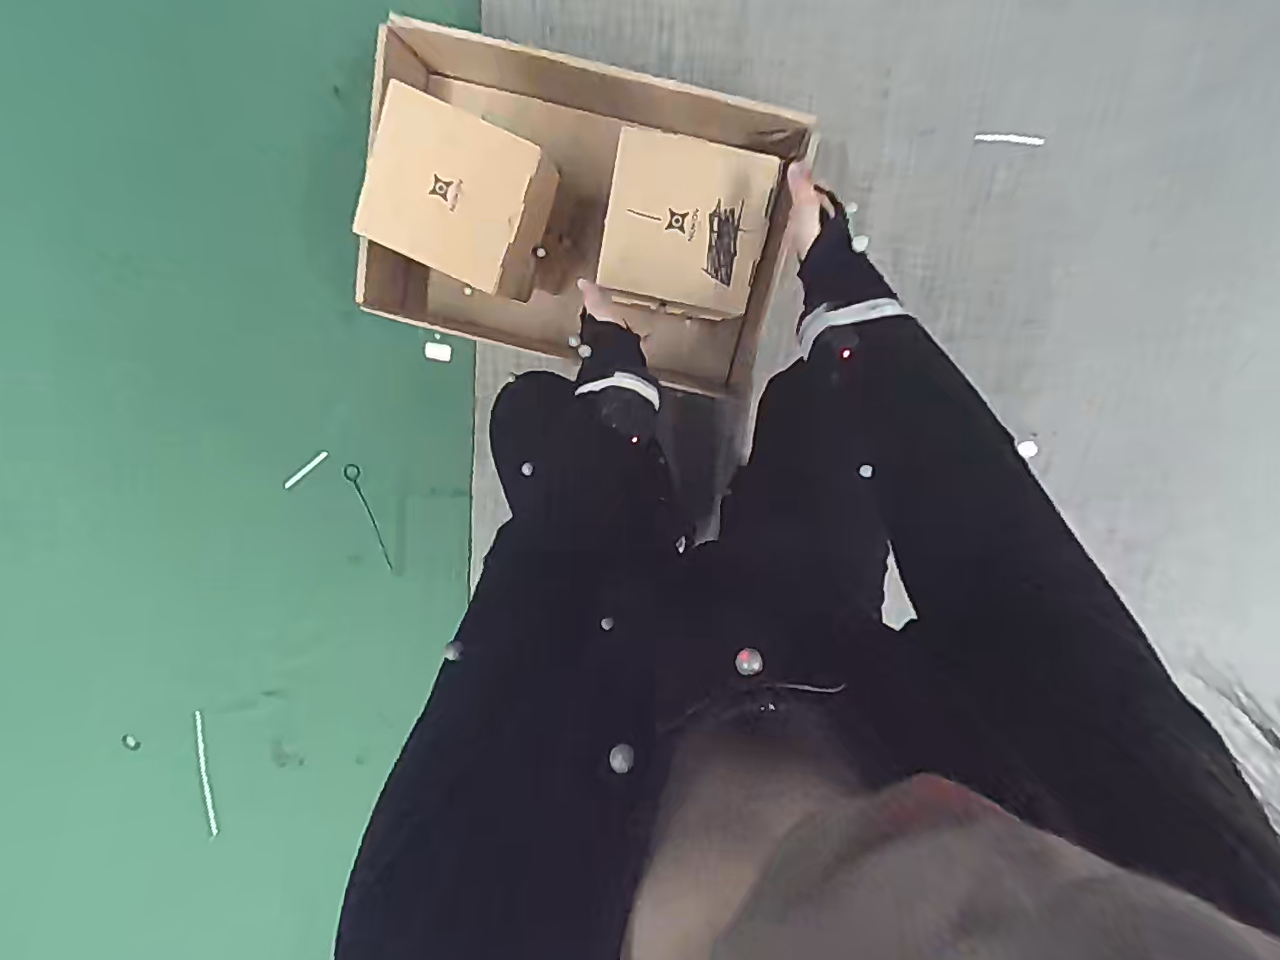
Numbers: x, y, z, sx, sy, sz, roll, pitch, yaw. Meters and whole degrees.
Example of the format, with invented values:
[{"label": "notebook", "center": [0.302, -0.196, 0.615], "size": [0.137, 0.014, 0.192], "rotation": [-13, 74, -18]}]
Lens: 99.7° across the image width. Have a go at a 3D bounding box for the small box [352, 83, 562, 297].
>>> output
[{"label": "small box", "center": [-0.216, -0.342, 0.680], "size": [0.179, 0.176, 0.168], "rotation": [23, 104, -5]}]
